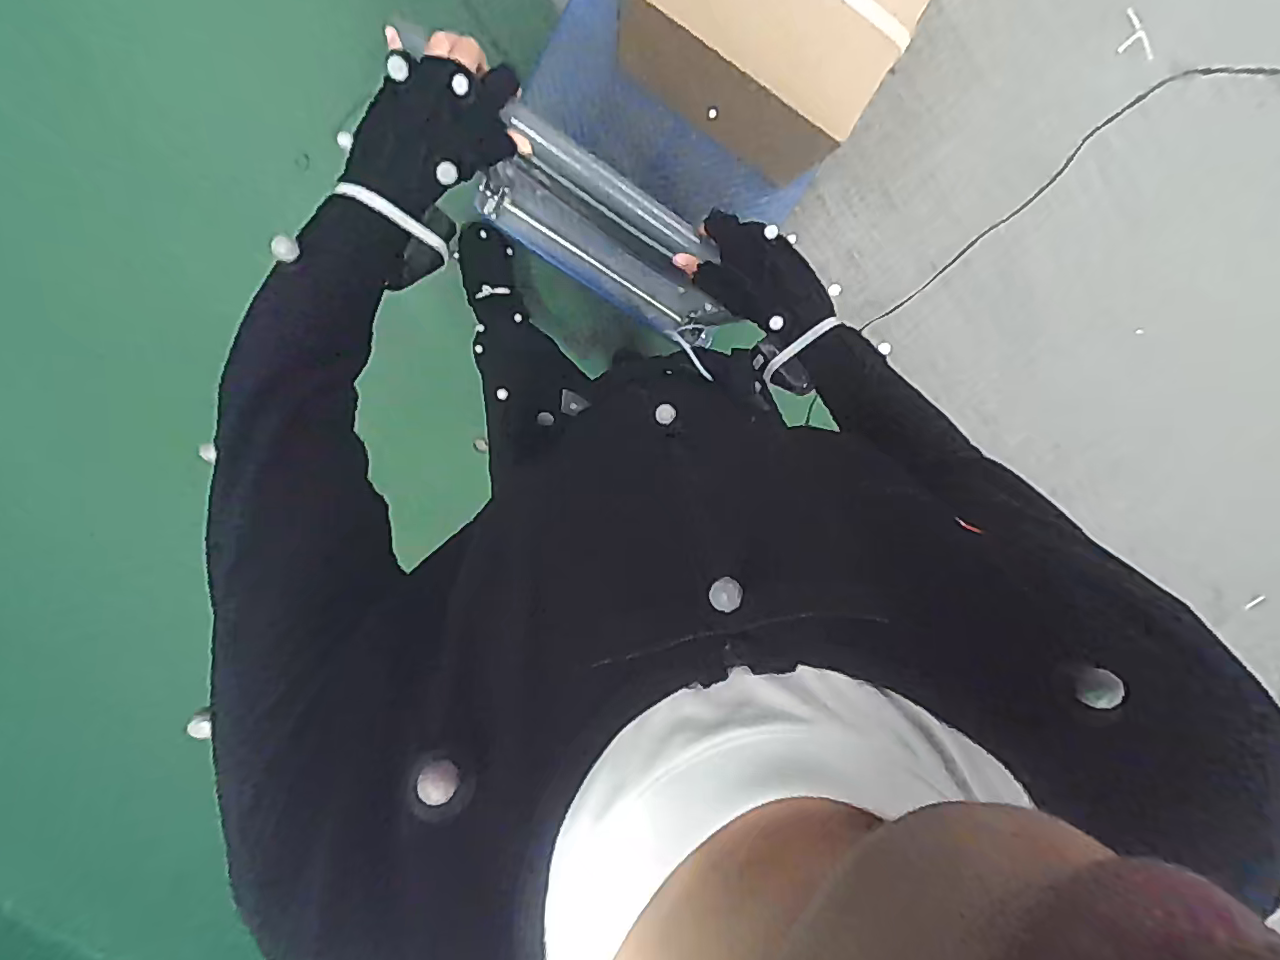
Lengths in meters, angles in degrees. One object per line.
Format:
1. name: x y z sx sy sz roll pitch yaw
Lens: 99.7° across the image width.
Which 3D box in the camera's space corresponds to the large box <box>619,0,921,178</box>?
1. large box: 0.211 -0.797 0.920 0.408 0.320 0.320 28 102 -11
